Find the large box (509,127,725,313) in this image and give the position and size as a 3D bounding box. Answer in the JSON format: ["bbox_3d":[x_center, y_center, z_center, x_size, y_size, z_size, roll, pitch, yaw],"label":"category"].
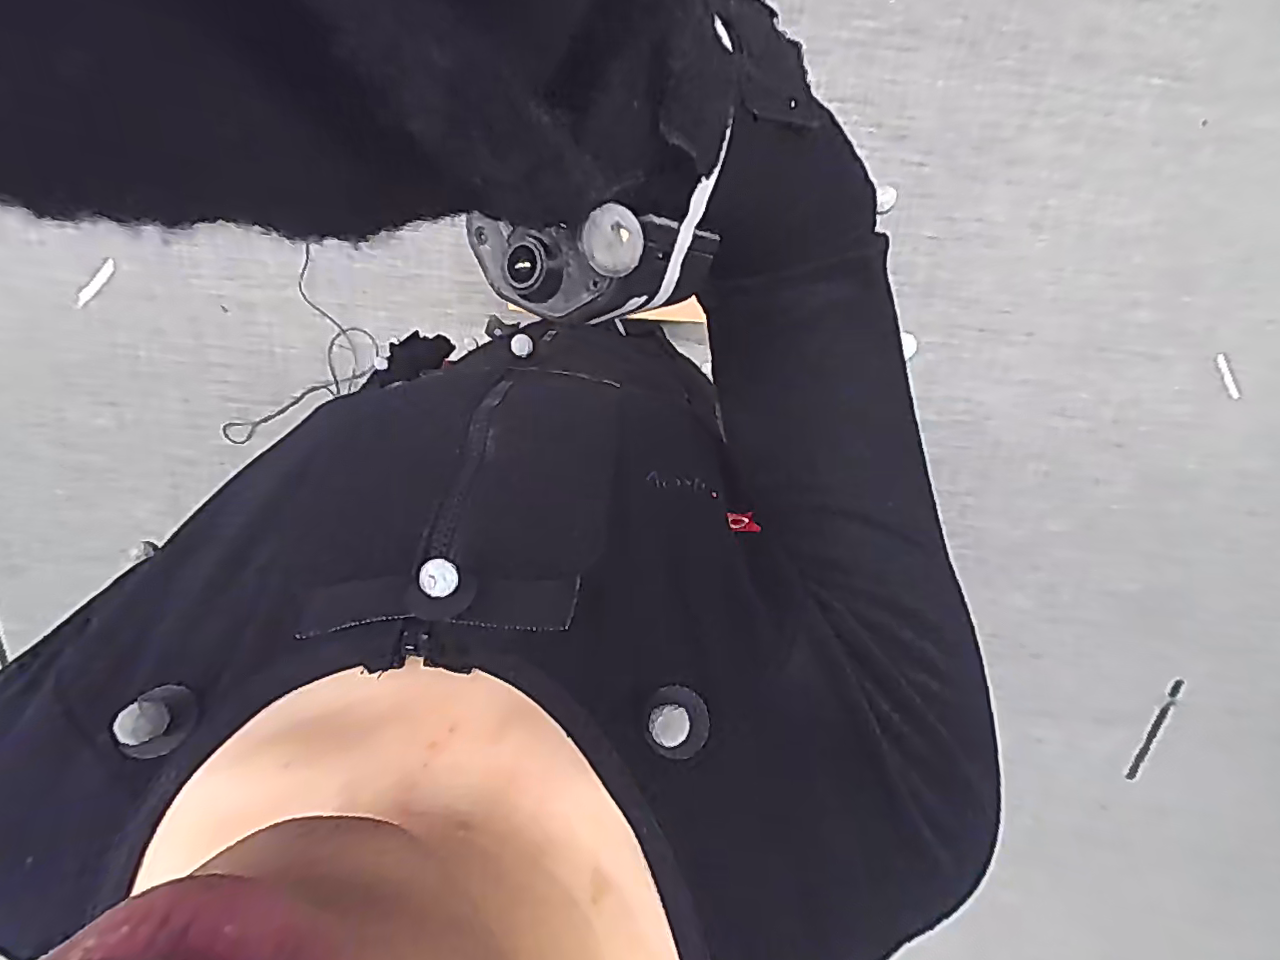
[{"bbox_3d":[-0.050,-0.532,1.175,0.408,0.320,0.320,3,108,-1],"label":"large box"}]
